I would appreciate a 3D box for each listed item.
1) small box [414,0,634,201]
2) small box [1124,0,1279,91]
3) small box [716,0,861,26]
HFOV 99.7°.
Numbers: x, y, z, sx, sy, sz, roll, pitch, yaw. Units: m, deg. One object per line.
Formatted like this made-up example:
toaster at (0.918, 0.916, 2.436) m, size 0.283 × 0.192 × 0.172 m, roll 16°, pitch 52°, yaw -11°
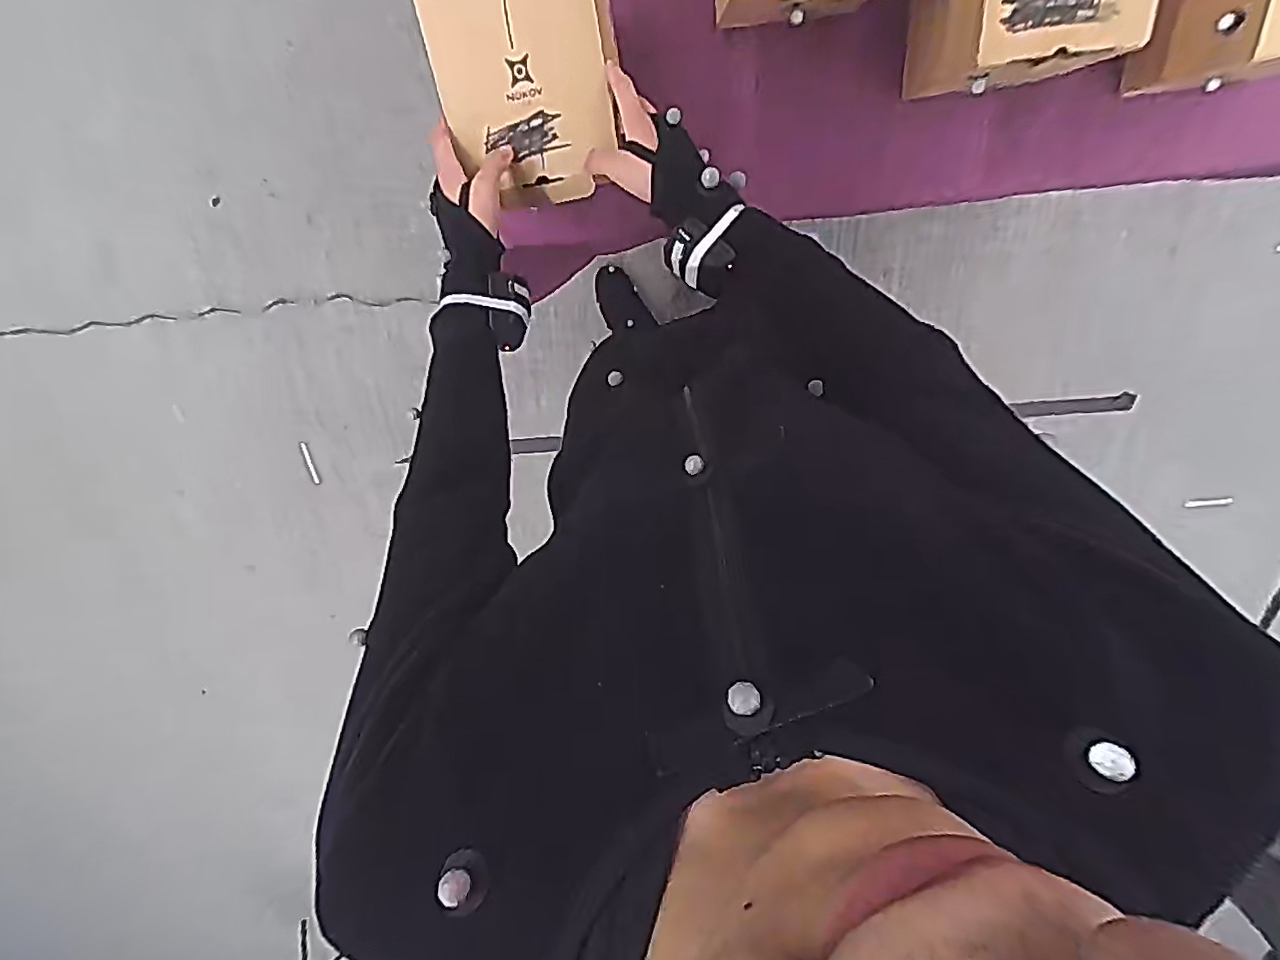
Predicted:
small box at (-0.105, -0.412, 0.583) m, size 0.168 × 0.176 × 0.179 m, roll -7°, pitch 115°, yaw 9°
small box at (0.669, -0.538, 0.566) m, size 0.168 × 0.176 × 0.179 m, roll -7°, pitch 117°, yaw 2°
small box at (0.164, -0.586, 0.528) m, size 0.168 × 0.176 × 0.179 m, roll -5°, pitch 117°, yaw 2°
